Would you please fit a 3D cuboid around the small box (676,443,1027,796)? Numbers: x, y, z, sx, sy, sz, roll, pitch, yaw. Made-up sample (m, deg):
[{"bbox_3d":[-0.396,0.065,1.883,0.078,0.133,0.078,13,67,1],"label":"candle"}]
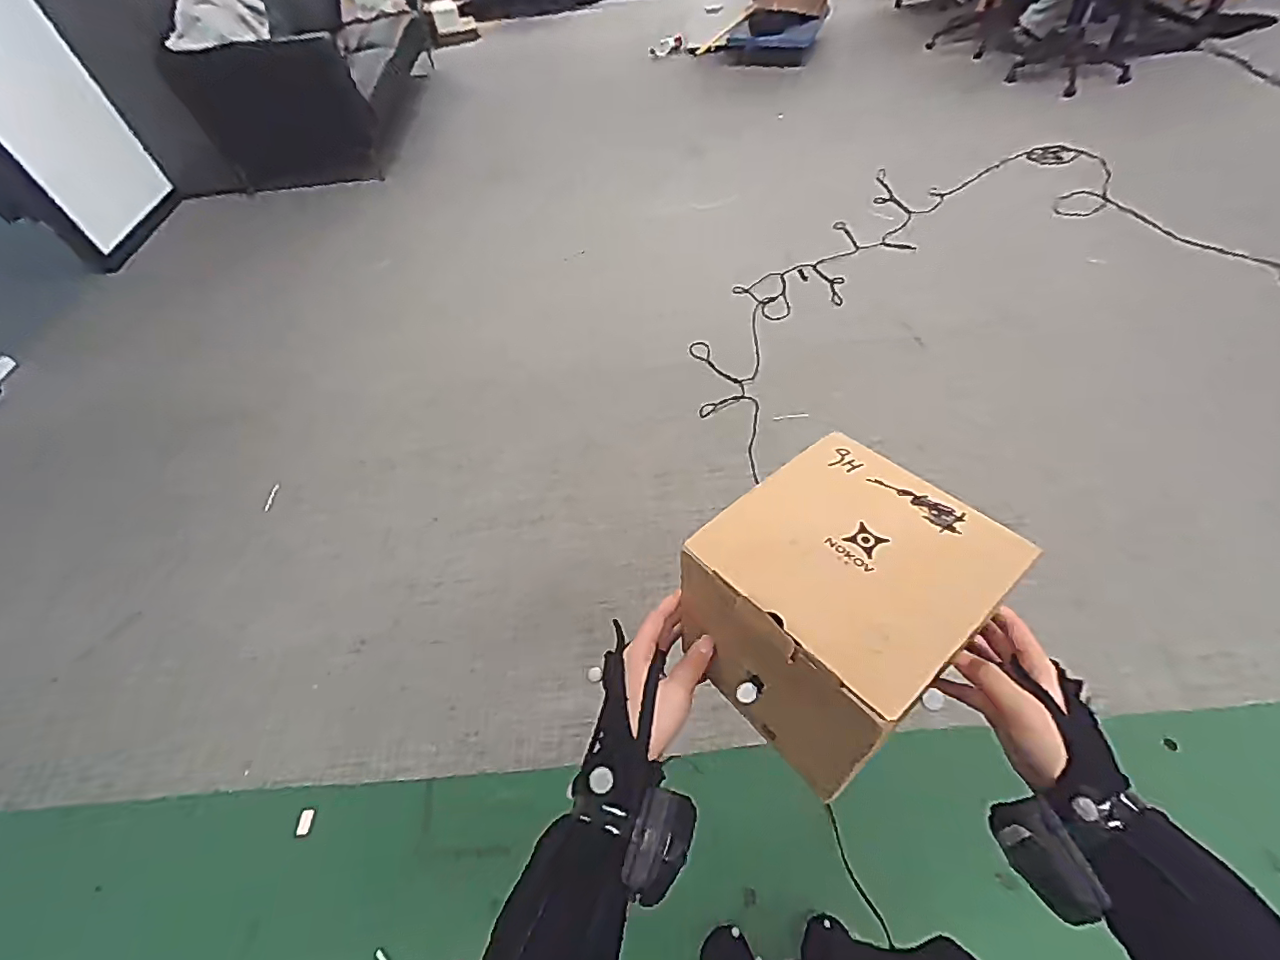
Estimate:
[{"bbox_3d":[0.149,0.109,0.428,0.179,0.176,0.168,-33,52,-23],"label":"small box"}]
